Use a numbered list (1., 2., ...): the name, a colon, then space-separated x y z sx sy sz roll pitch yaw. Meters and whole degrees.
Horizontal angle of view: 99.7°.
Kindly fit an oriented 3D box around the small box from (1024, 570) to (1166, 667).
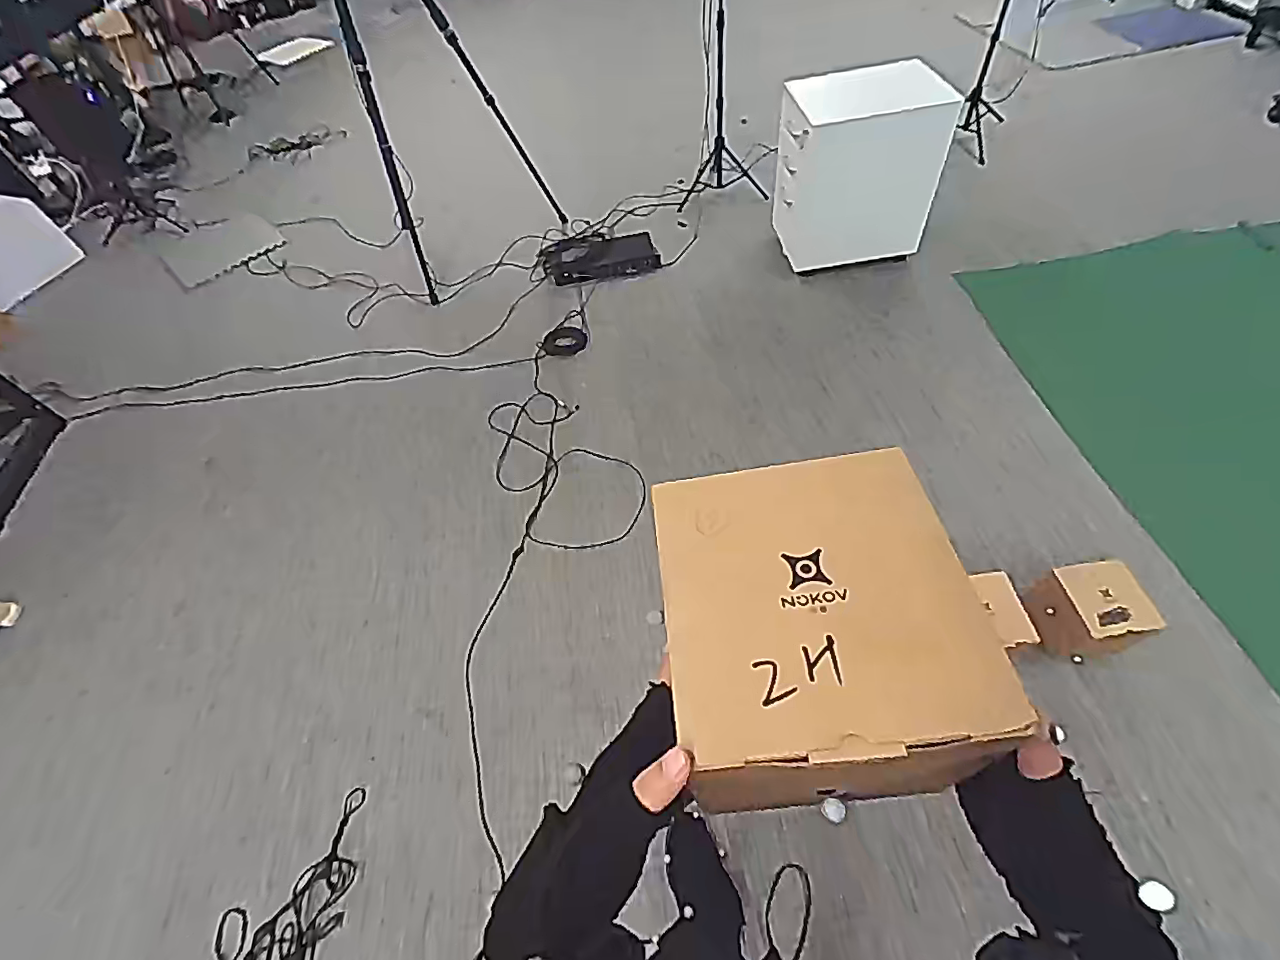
1. small box: 1.084 0.340 1.307 0.168 0.176 0.179 -8 53 1

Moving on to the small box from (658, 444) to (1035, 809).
1. small box: 0.107 0.103 0.365 0.168 0.176 0.179 -8 51 5

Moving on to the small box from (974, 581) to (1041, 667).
1. small box: 0.817 0.368 1.322 0.168 0.176 0.179 -8 54 2
